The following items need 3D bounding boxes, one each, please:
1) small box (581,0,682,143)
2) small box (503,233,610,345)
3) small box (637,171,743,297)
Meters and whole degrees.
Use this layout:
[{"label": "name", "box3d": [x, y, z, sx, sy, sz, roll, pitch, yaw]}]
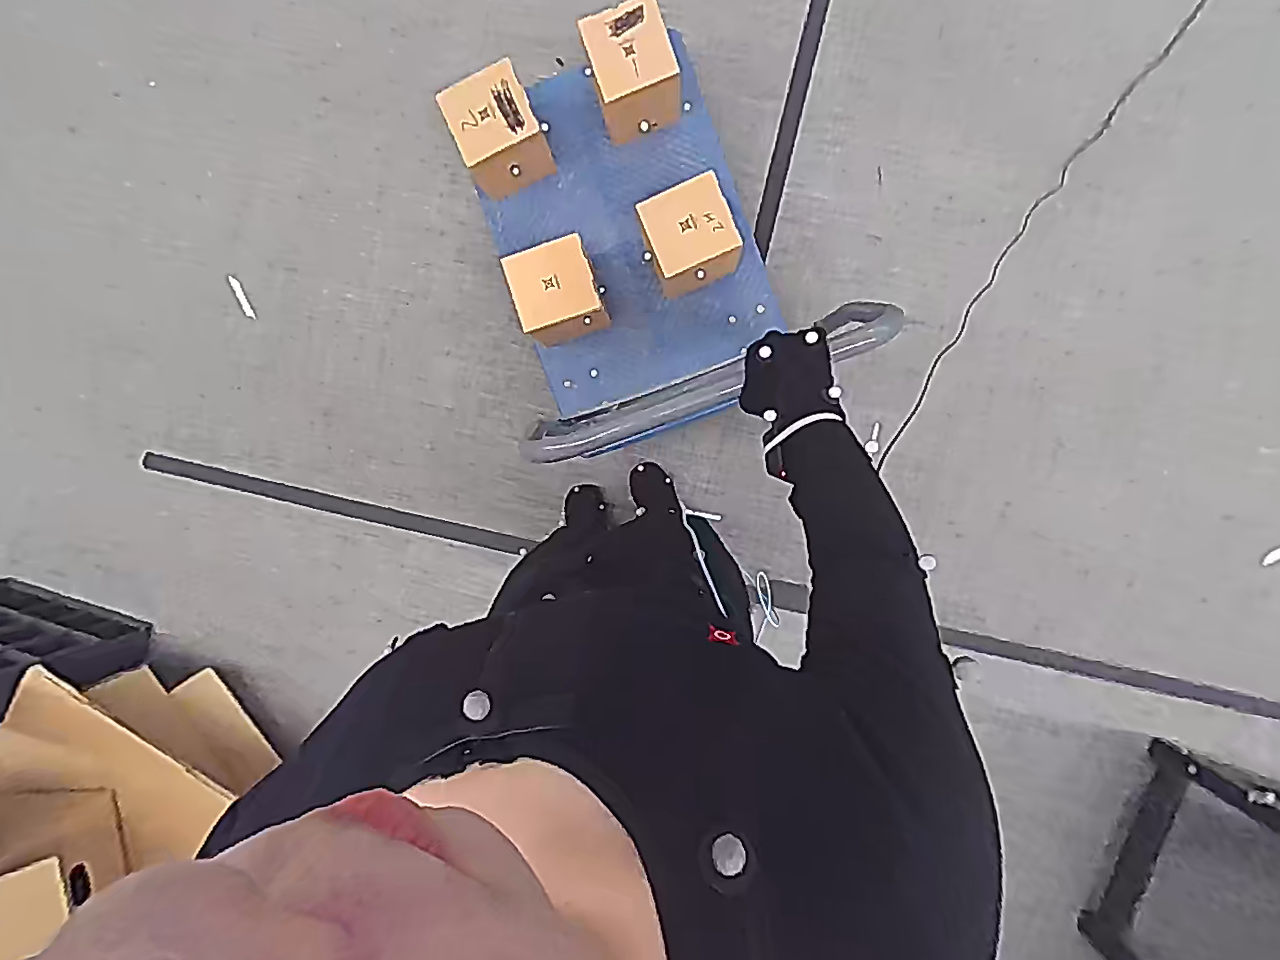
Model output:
[{"label": "small box", "box3d": [-0.015, -0.884, 1.173, 0.168, 0.176, 0.179, -19, 93, 5]}, {"label": "small box", "box3d": [-0.179, -0.417, 1.213, 0.179, 0.176, 0.168, -18, 92, 3]}, {"label": "small box", "box3d": [0.109, -0.527, 1.187, 0.179, 0.176, 0.168, -22, 92, 5]}]
